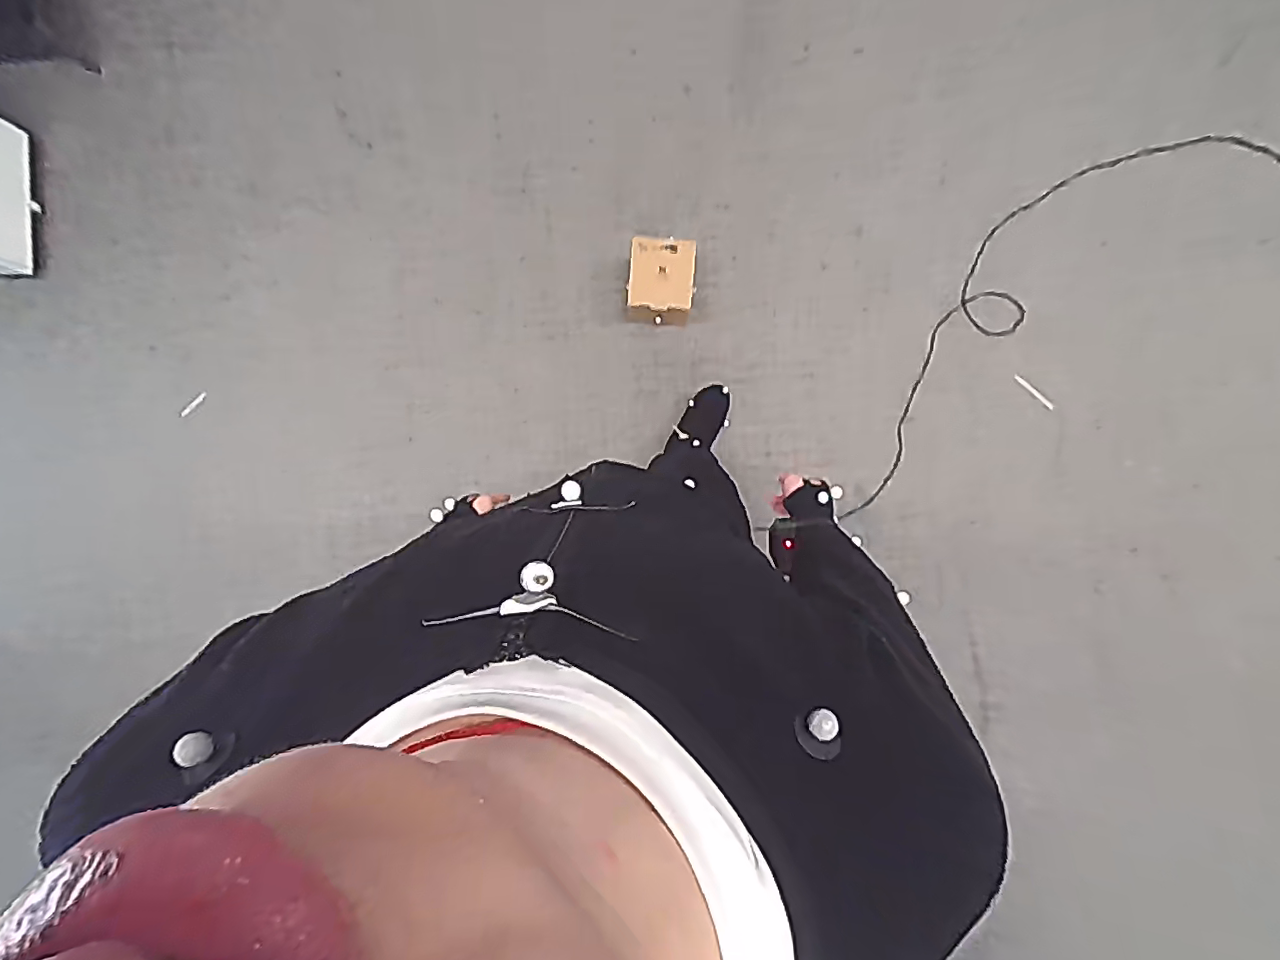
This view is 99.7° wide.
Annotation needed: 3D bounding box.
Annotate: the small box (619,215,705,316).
[{"bbox_3d":[0.064,-0.565,1.452,0.179,0.176,0.168,-24,89,5],"label":"small box"}]
